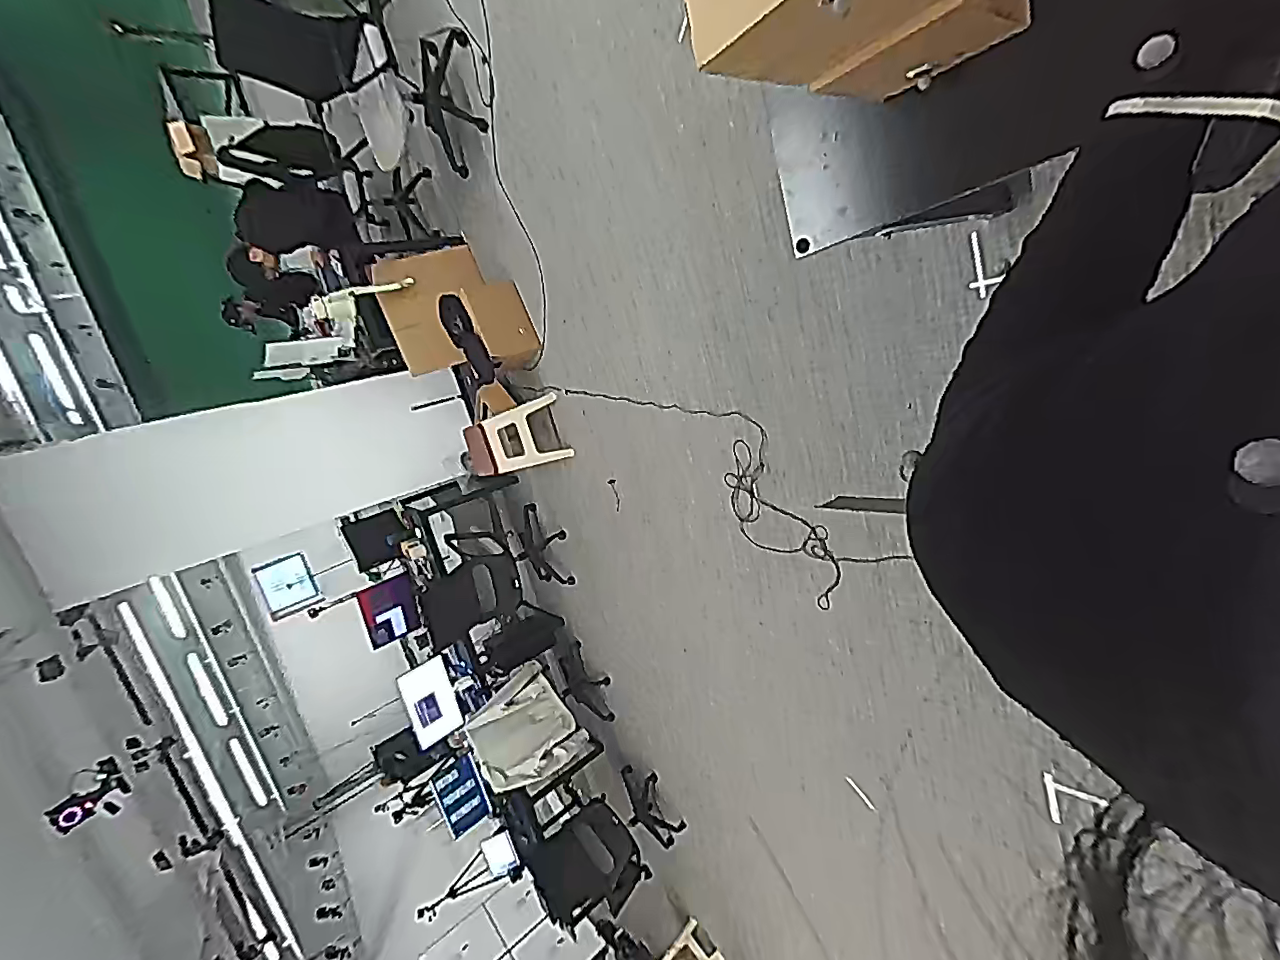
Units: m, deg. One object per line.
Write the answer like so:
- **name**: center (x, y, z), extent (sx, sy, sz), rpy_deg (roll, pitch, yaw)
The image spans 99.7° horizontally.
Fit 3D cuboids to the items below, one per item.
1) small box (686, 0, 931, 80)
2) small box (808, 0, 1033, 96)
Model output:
- **small box**: center (0.152, -0.488, 0.475), extent (0.179, 0.176, 0.168), rpy_deg (6, 113, 53)
- **small box**: center (0.283, -0.536, 0.564), extent (0.168, 0.176, 0.179), rpy_deg (6, 115, 53)
